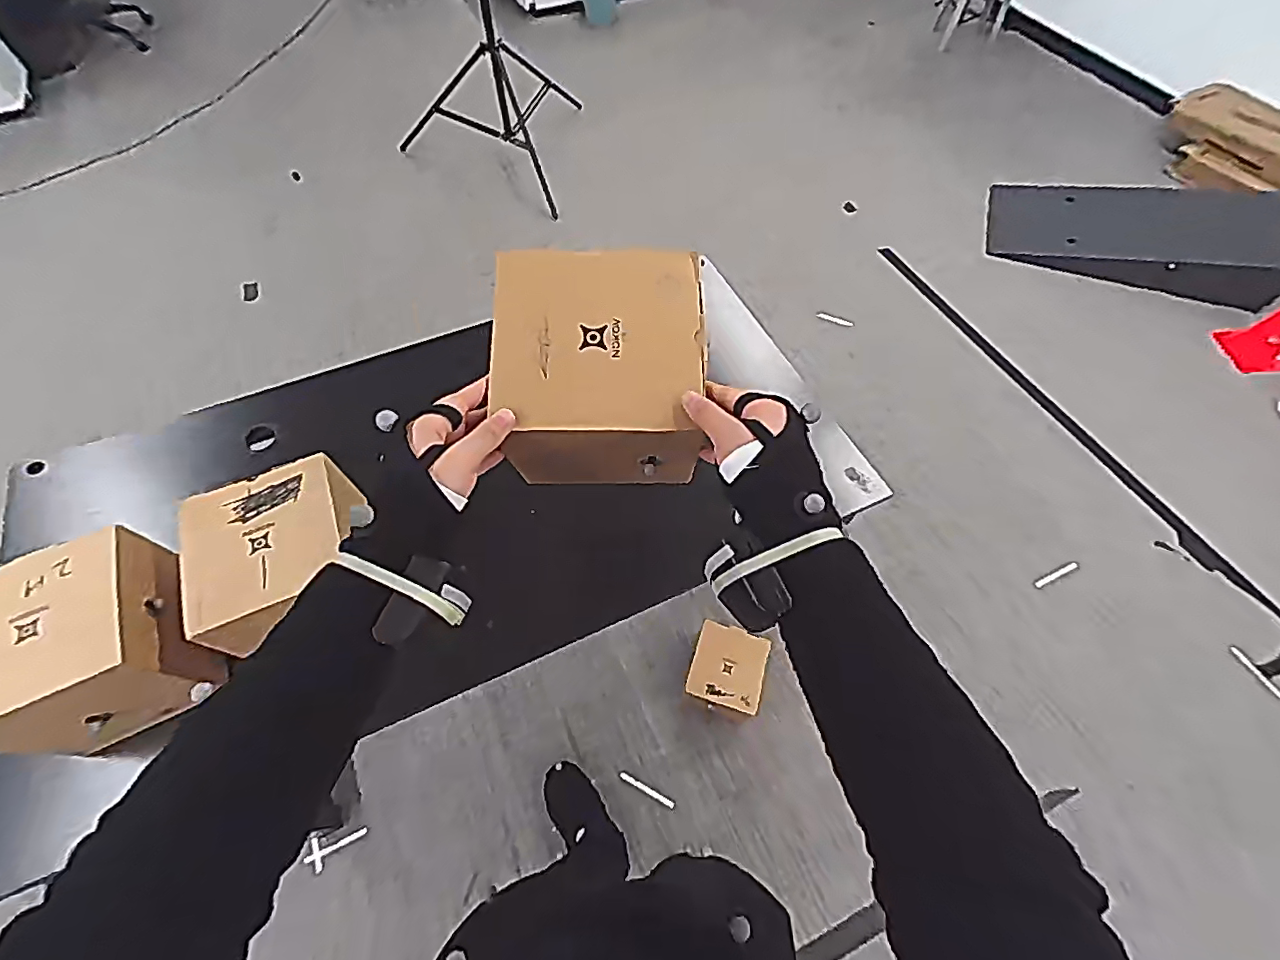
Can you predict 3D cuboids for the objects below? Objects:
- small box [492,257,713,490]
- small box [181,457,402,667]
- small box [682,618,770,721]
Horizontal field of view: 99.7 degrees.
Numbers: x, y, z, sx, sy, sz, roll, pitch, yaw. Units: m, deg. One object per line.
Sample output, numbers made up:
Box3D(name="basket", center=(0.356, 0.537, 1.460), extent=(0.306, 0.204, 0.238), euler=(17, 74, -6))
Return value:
Box3D(name="small box", center=(-0.030, -0.090, 0.520), extent=(0.179, 0.176, 0.168), euler=(-2, 74, 1))
Box3D(name="small box", center=(-0.422, 0.107, 0.673), extent=(0.168, 0.176, 0.179), euler=(-23, 63, -12))
Box3D(name="small box", center=(0.202, 0.463, 1.311), extent=(0.168, 0.176, 0.179), euler=(16, 62, 9))
